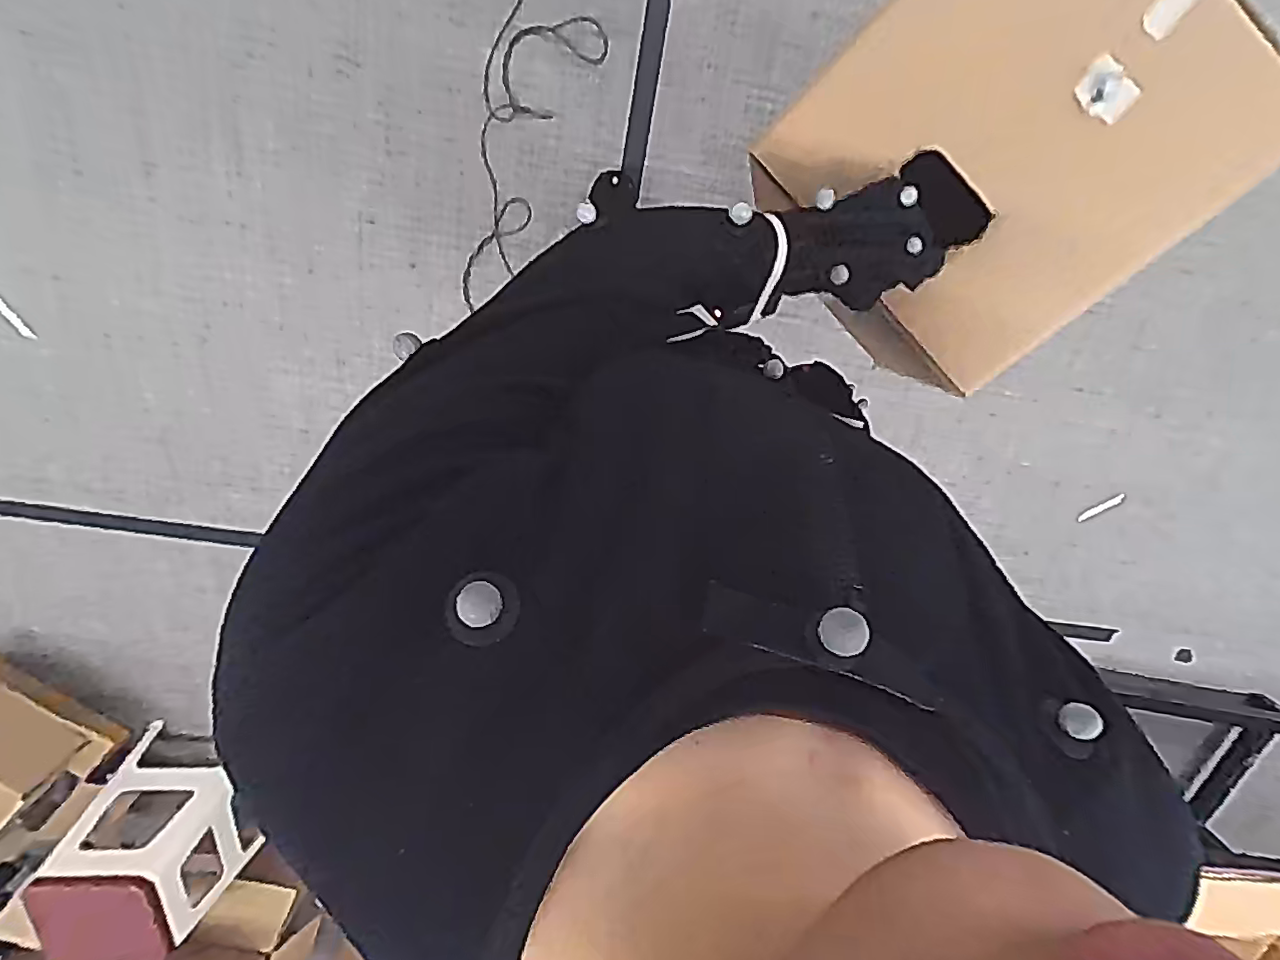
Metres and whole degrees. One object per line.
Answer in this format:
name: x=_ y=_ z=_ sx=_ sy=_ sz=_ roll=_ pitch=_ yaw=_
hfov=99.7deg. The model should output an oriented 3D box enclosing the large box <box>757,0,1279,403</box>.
large box: x=0.369 y=-0.326 z=0.653 sx=0.320 sy=0.408 sz=0.320 roll=-39 pitch=92 yaw=21
